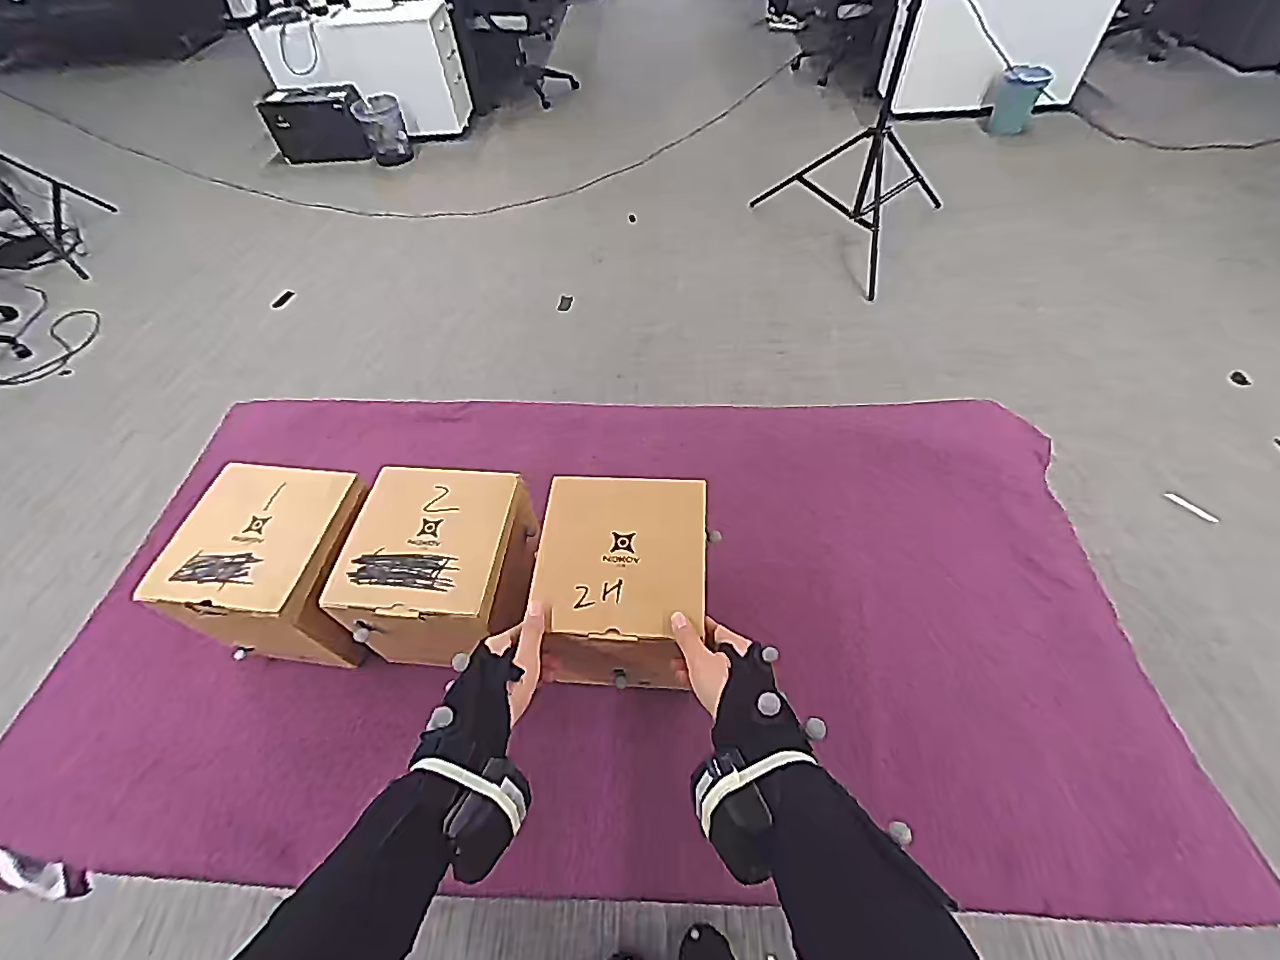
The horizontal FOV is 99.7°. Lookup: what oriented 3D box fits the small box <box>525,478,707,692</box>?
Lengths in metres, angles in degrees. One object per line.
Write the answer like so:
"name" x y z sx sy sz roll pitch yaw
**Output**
"small box" -0.013 0.117 0.595 0.168 0.176 0.179 1 55 6
